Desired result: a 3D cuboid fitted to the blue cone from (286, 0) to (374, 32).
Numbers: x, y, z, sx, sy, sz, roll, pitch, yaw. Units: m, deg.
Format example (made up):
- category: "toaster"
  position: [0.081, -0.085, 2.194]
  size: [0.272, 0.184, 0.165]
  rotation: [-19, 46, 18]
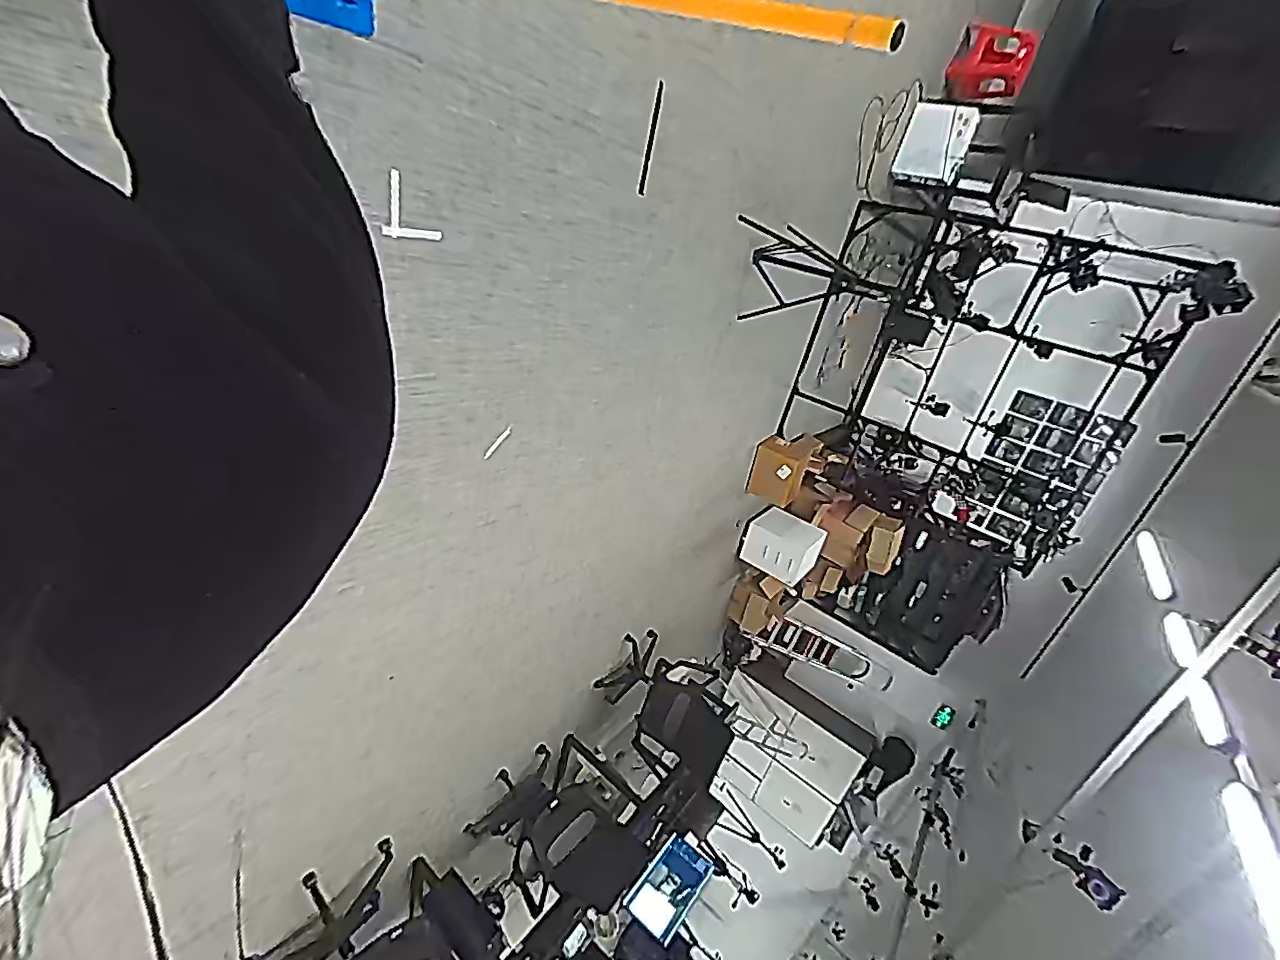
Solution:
- category: "blue cone"
  position: [-0.503, -0.968, 1.007]
  size: [0.193, 0.380, 0.192]
  rotation: [-25, 134, -49]
